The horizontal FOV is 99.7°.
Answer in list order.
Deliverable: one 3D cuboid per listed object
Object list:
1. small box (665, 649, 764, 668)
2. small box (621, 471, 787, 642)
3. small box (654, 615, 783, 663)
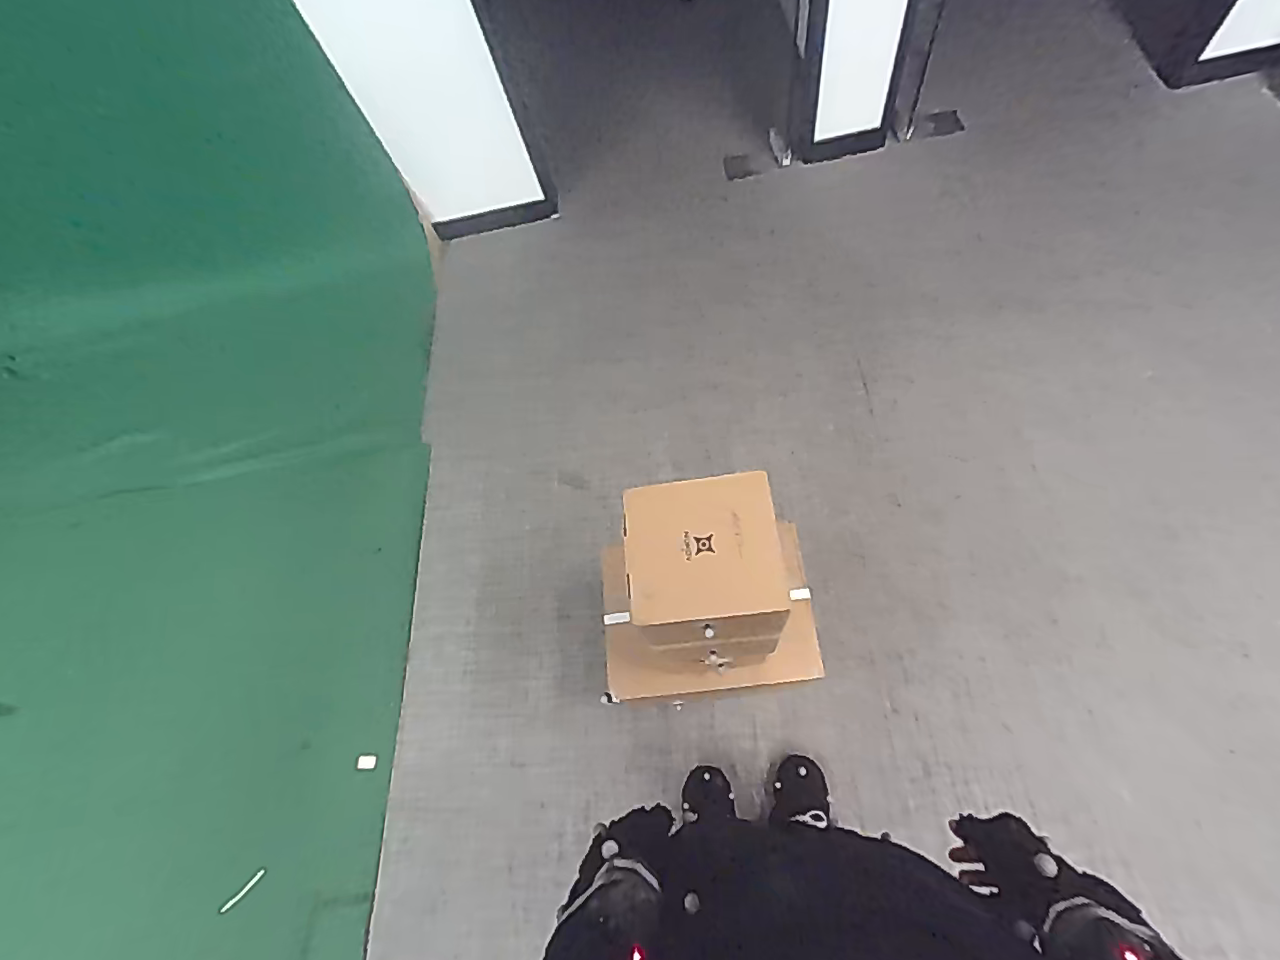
[{"bbox_3d":[0.128,0.240,0.978,0.168,0.176,0.179,-10,65,7],"label":"small box"},{"bbox_3d":[0.080,0.106,0.685,0.179,0.176,0.168,-8,66,7],"label":"small box"},{"bbox_3d":[0.108,0.178,0.827,0.179,0.176,0.168,-10,65,5],"label":"small box"}]
